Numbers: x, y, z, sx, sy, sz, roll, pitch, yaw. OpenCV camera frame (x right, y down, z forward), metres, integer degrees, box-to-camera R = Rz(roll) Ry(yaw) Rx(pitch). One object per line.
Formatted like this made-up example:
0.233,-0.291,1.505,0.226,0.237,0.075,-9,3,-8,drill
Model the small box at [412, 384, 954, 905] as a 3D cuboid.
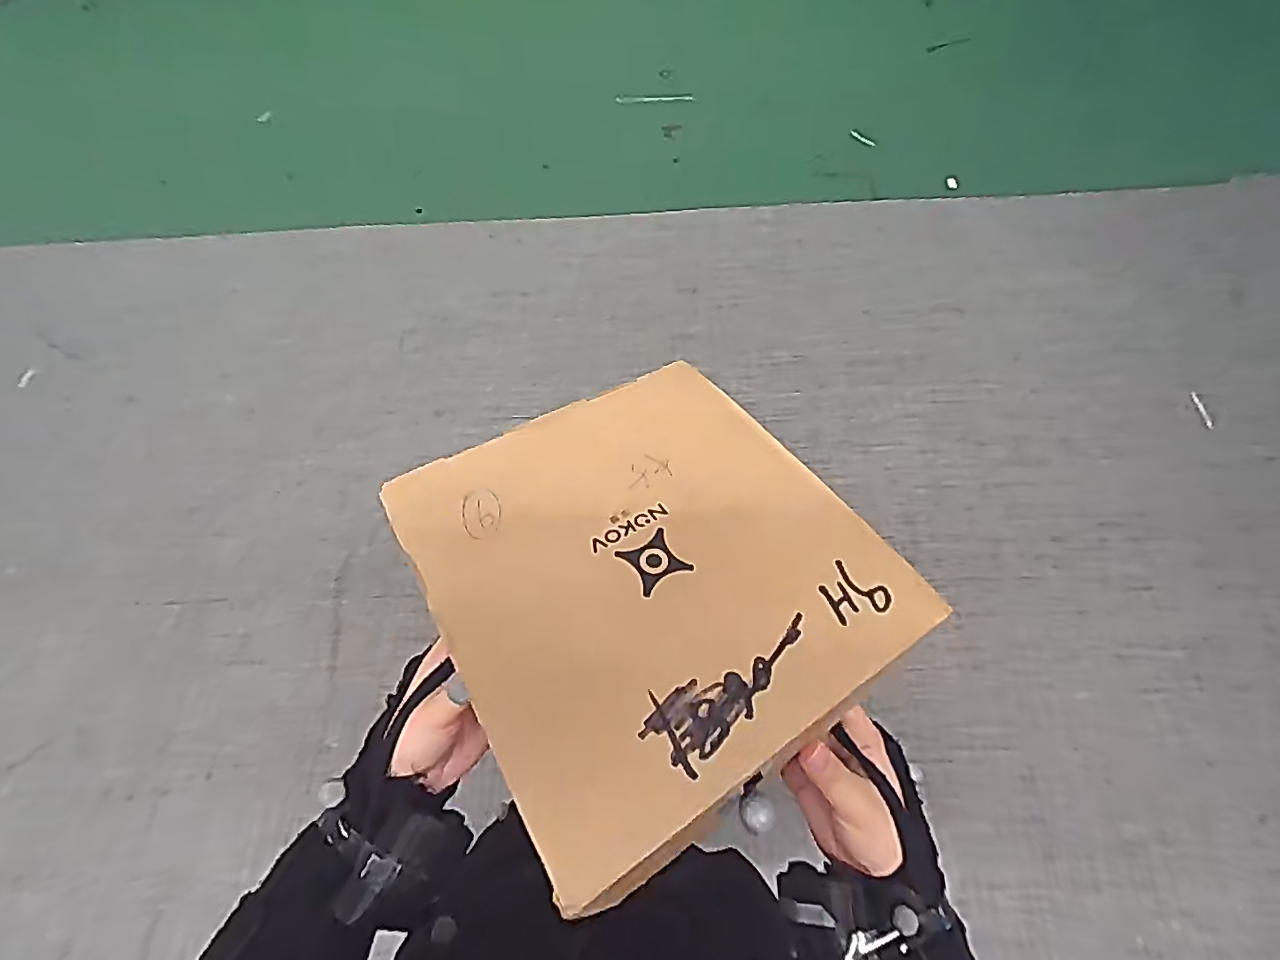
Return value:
0.008,0.085,0.288,0.168,0.176,0.179,-27,56,-20,small box
